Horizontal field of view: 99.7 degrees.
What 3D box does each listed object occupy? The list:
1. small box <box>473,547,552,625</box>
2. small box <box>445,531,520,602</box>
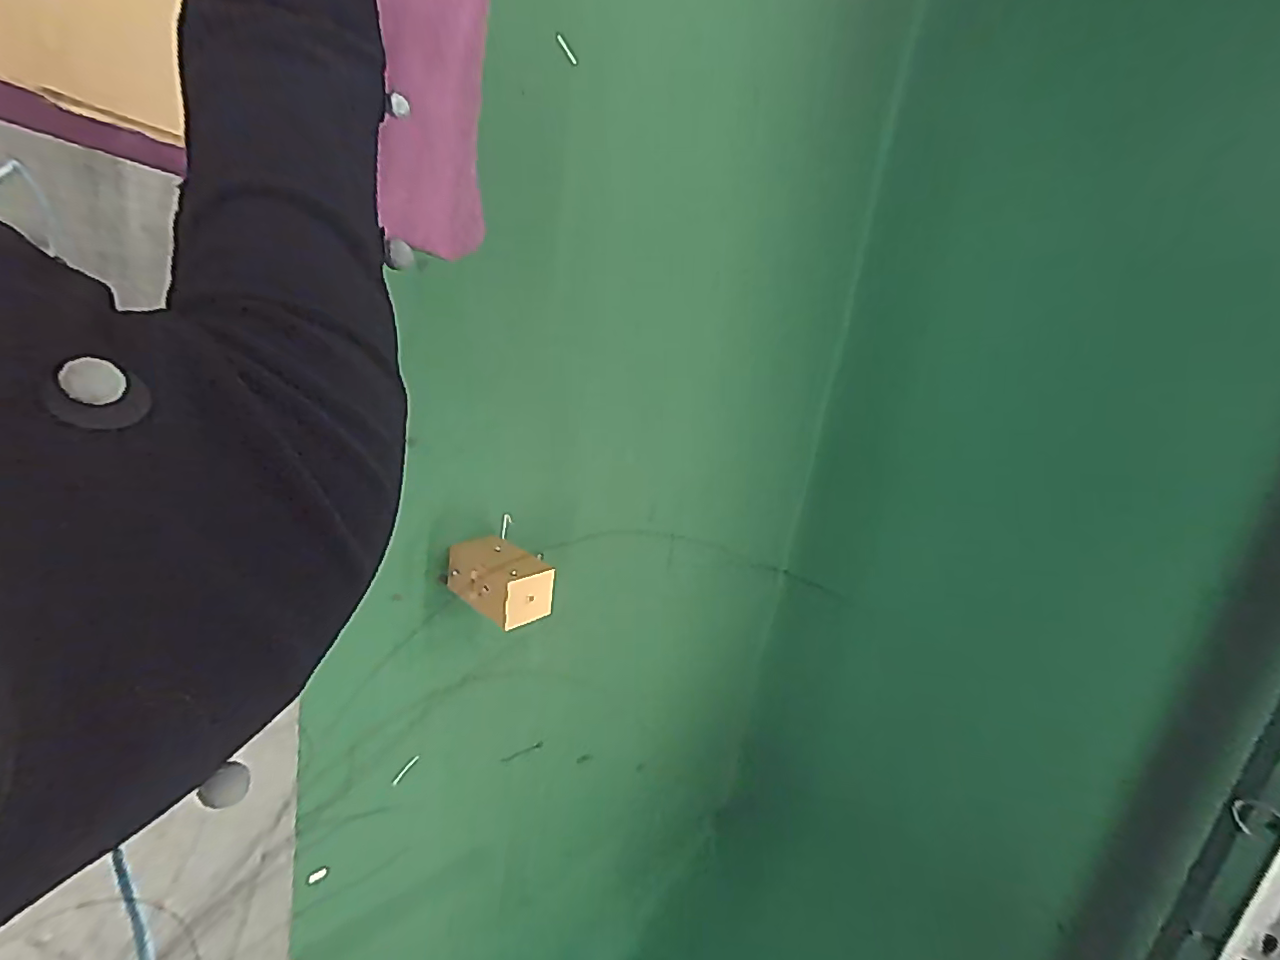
[{"bbox_3d":[-0.406,0.326,1.713,0.179,0.176,0.168,-10,114,-47],"label":"small box"},{"bbox_3d":[-0.527,0.282,1.813,0.179,0.176,0.168,-8,112,-48],"label":"small box"}]
